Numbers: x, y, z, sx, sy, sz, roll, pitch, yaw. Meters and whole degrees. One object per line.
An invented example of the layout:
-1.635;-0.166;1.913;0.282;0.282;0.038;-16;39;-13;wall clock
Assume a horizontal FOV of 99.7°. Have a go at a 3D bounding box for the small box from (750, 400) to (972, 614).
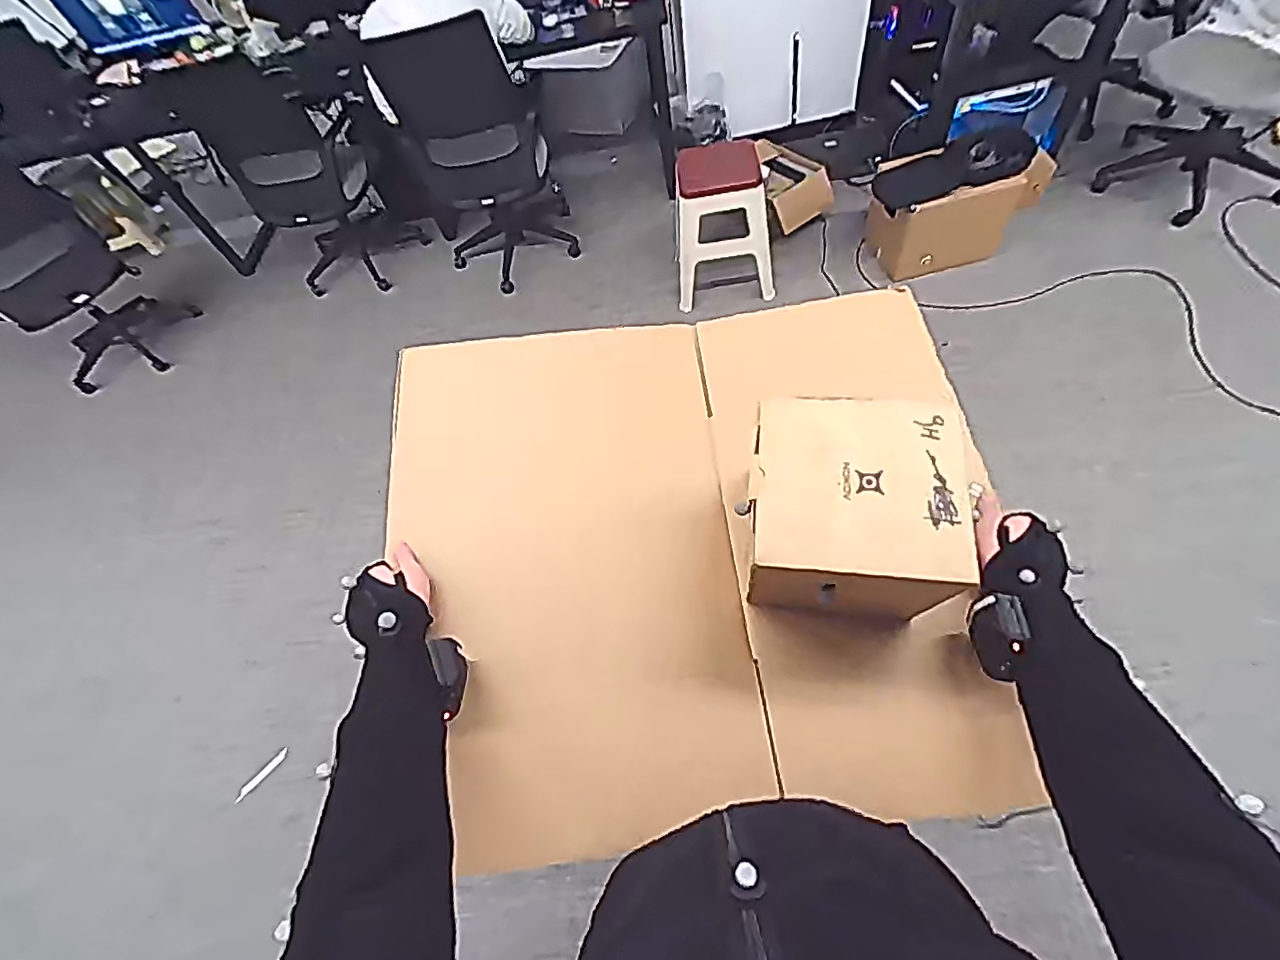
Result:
0.204;0.034;0.547;0.179;0.176;0.168;3;68;12;small box
